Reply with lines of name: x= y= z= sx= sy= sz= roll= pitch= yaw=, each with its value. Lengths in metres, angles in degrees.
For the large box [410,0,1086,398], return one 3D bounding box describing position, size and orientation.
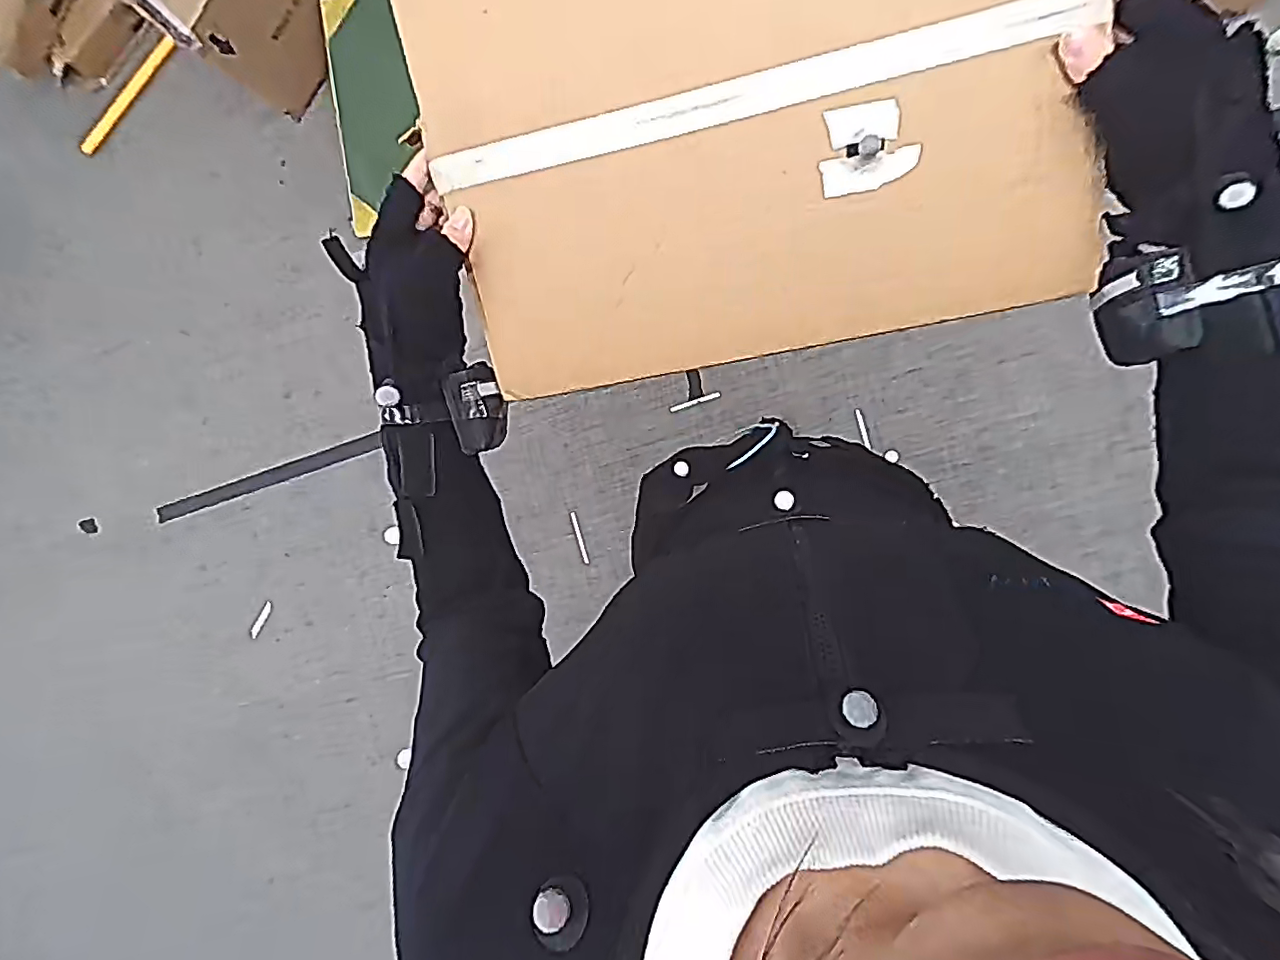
large box: x=0.079 y=-0.284 z=0.487 sx=0.408 sy=0.320 sz=0.320 roll=-10 pitch=107 yaw=7
